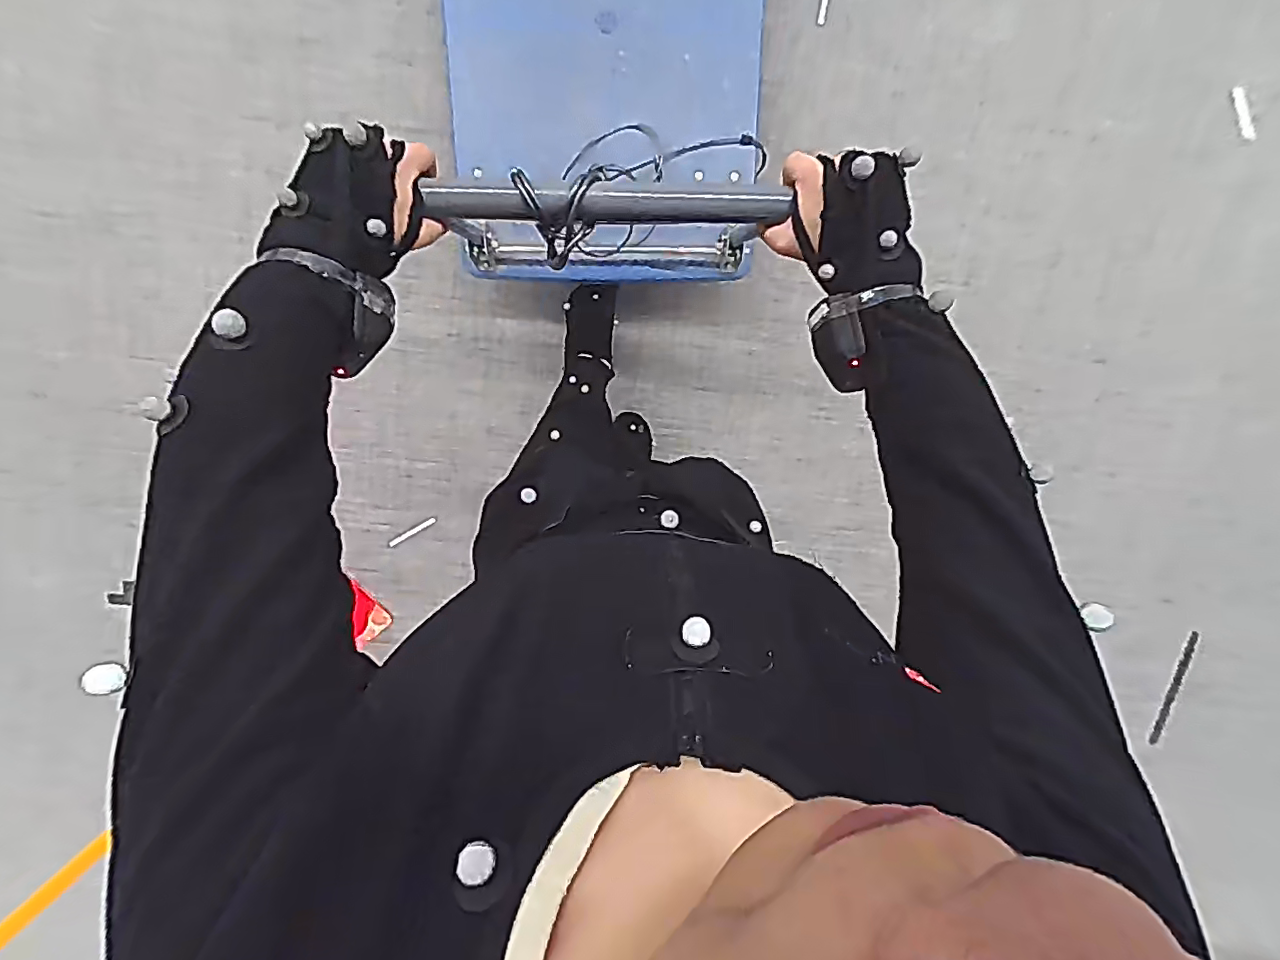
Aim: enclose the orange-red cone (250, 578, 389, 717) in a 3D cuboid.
[{"bbox_3d":[-0.771,0.411,1.243,0.199,0.360,0.198,-37,104,5],"label":"orange-red cone"}]
